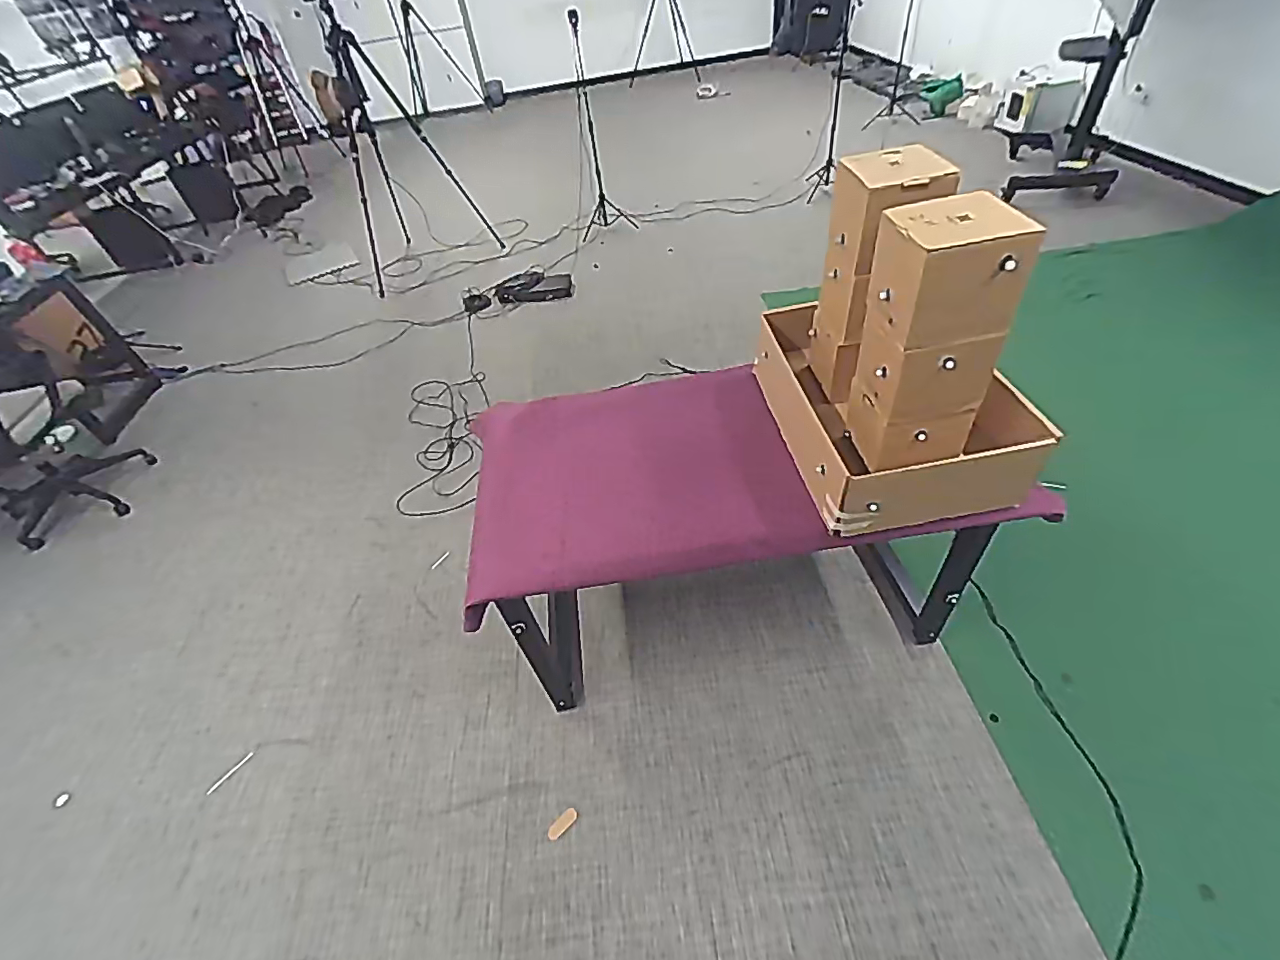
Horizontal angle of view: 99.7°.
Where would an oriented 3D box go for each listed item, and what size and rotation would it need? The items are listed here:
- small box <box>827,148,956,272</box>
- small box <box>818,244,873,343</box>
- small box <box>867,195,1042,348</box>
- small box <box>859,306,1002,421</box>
[{"bbox_3d":[0.488,-0.531,1.079,0.168,0.176,0.179,-8,48,2],"label":"small box"},{"bbox_3d":[0.507,-0.419,1.197,0.168,0.176,0.179,-9,47,2],"label":"small box"},{"bbox_3d":[0.501,-0.342,0.895,0.179,0.176,0.168,-9,45,2],"label":"small box"},{"bbox_3d":[0.524,-0.227,1.011,0.179,0.176,0.168,-8,46,3],"label":"small box"}]
